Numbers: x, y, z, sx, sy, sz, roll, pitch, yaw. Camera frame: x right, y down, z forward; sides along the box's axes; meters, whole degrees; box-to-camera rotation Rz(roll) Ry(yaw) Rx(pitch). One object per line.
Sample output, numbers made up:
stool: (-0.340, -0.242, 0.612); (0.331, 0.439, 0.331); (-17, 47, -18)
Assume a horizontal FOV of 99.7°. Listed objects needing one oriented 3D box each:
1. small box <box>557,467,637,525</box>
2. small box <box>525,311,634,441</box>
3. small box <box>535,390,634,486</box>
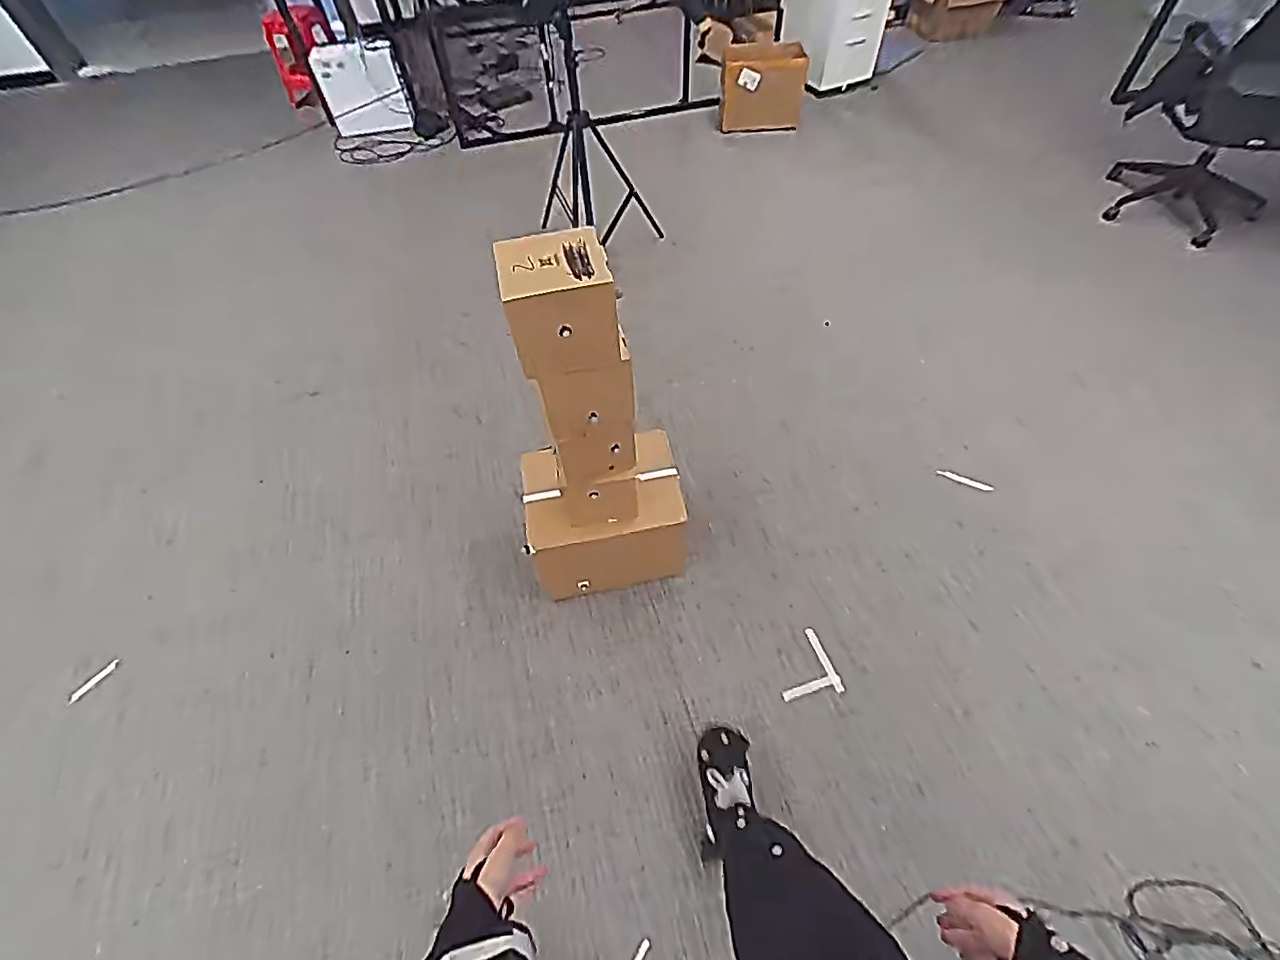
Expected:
small box: (-0.104, -0.003, 1.324); (0.179, 0.176, 0.168); (-7, 55, -3)
small box: (-0.116, -0.202, 1.066); (0.179, 0.176, 0.168); (-15, 55, -9)
small box: (-0.118, -0.107, 1.200); (0.168, 0.176, 0.179); (-20, 55, -12)
